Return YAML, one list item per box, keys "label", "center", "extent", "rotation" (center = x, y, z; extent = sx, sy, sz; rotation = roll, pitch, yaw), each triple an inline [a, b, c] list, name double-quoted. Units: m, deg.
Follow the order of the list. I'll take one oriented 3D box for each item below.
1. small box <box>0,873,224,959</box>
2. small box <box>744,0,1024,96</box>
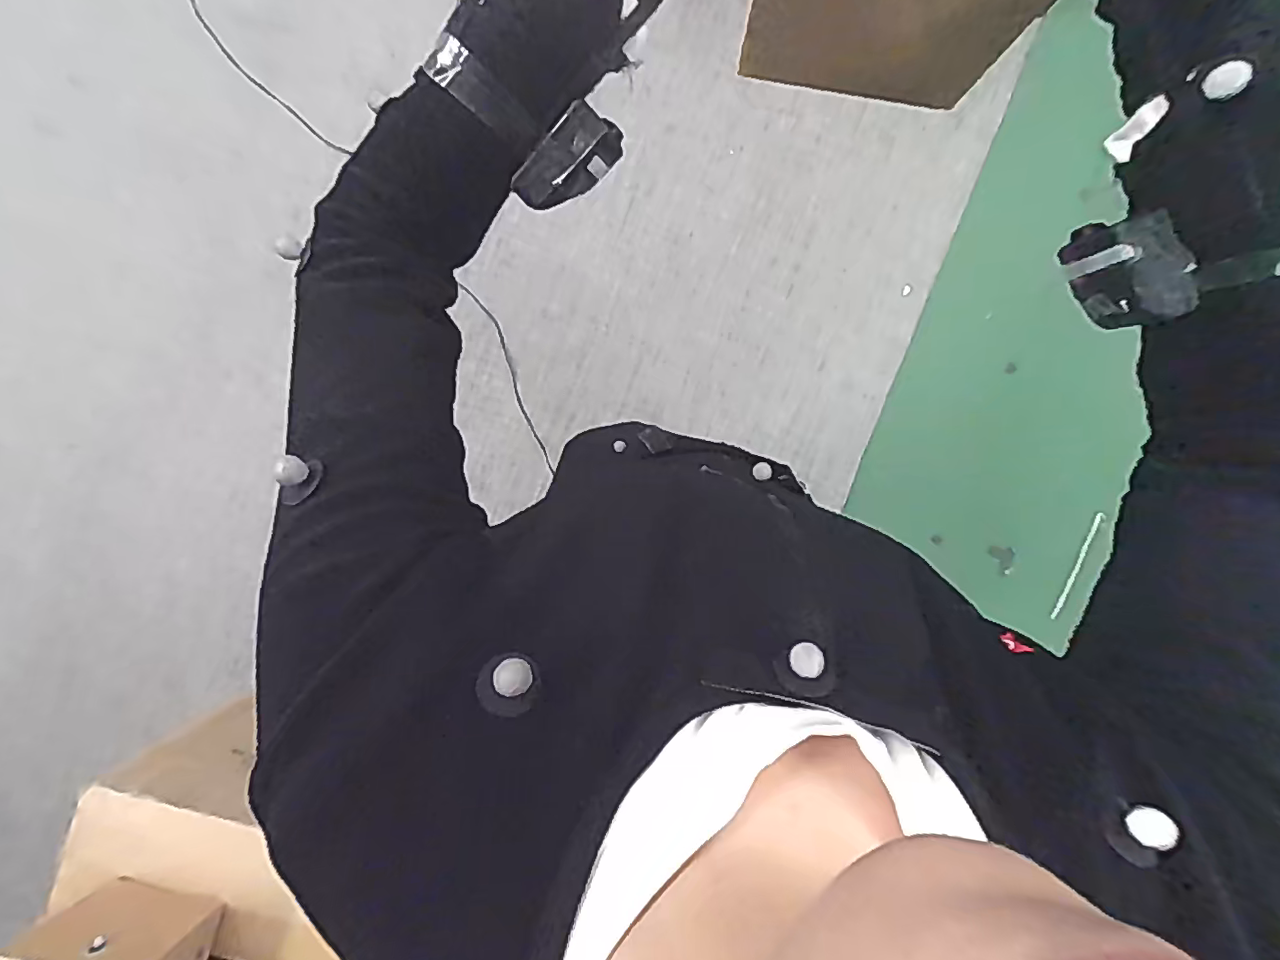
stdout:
- label: "small box"
  center: [-0.734, 0.688, 0.748]
  extent: [0.179, 0.176, 0.168]
  rotation: [13, 82, 0]
- label: "small box"
  center: [0.173, -0.386, 0.344]
  extent: [0.179, 0.176, 0.168]
  rotation: [9, 95, 0]
